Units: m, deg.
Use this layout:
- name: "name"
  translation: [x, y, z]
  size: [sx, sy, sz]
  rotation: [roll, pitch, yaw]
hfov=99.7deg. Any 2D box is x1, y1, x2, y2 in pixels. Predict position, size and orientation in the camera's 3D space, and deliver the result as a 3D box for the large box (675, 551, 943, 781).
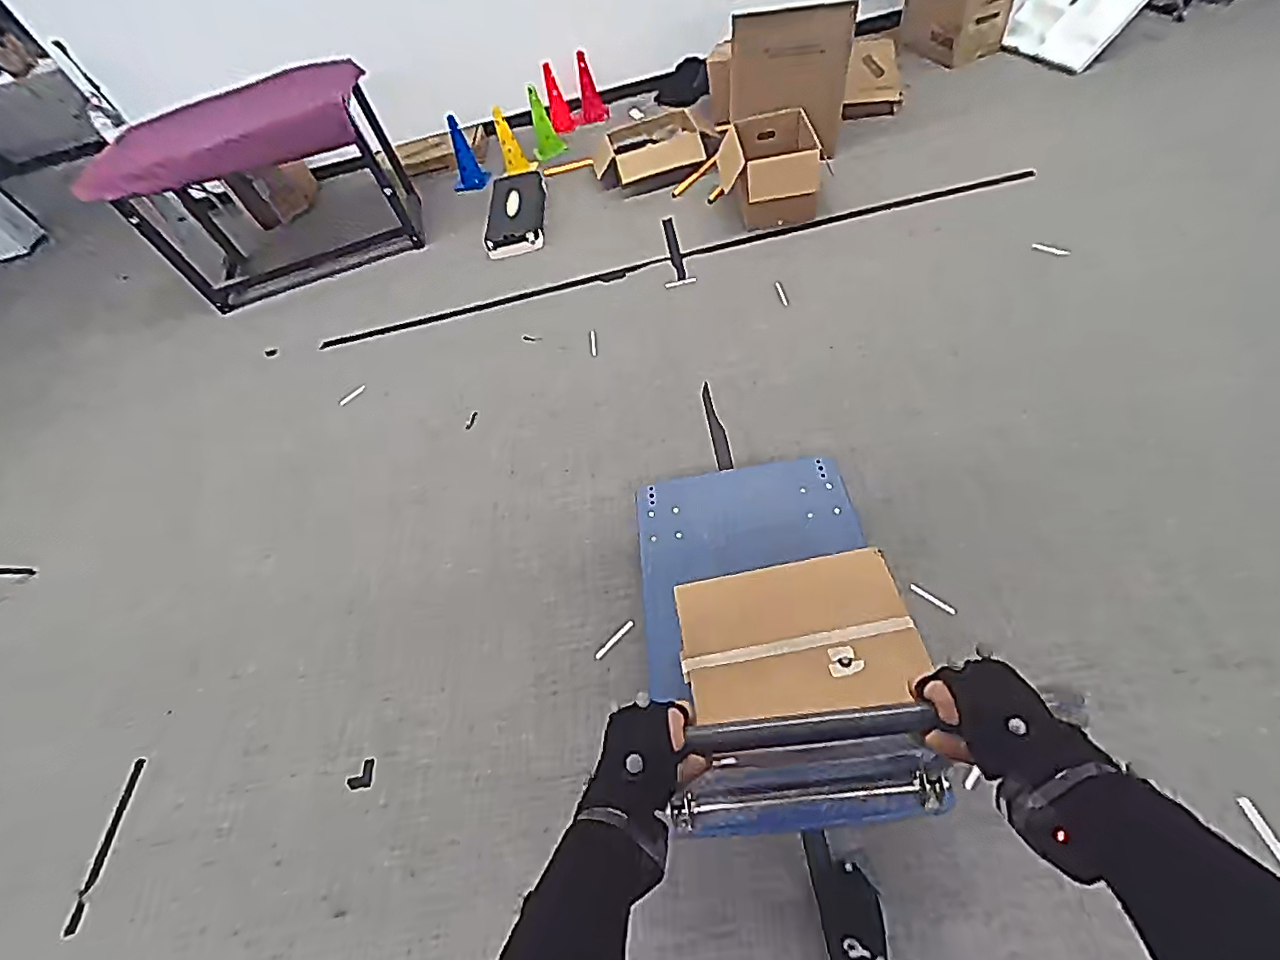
- name: "large box"
  translation: [0.307, 0.386, 1.096]
  size: [0.408, 0.320, 0.320]
  rotation: [-12, 54, 3]
